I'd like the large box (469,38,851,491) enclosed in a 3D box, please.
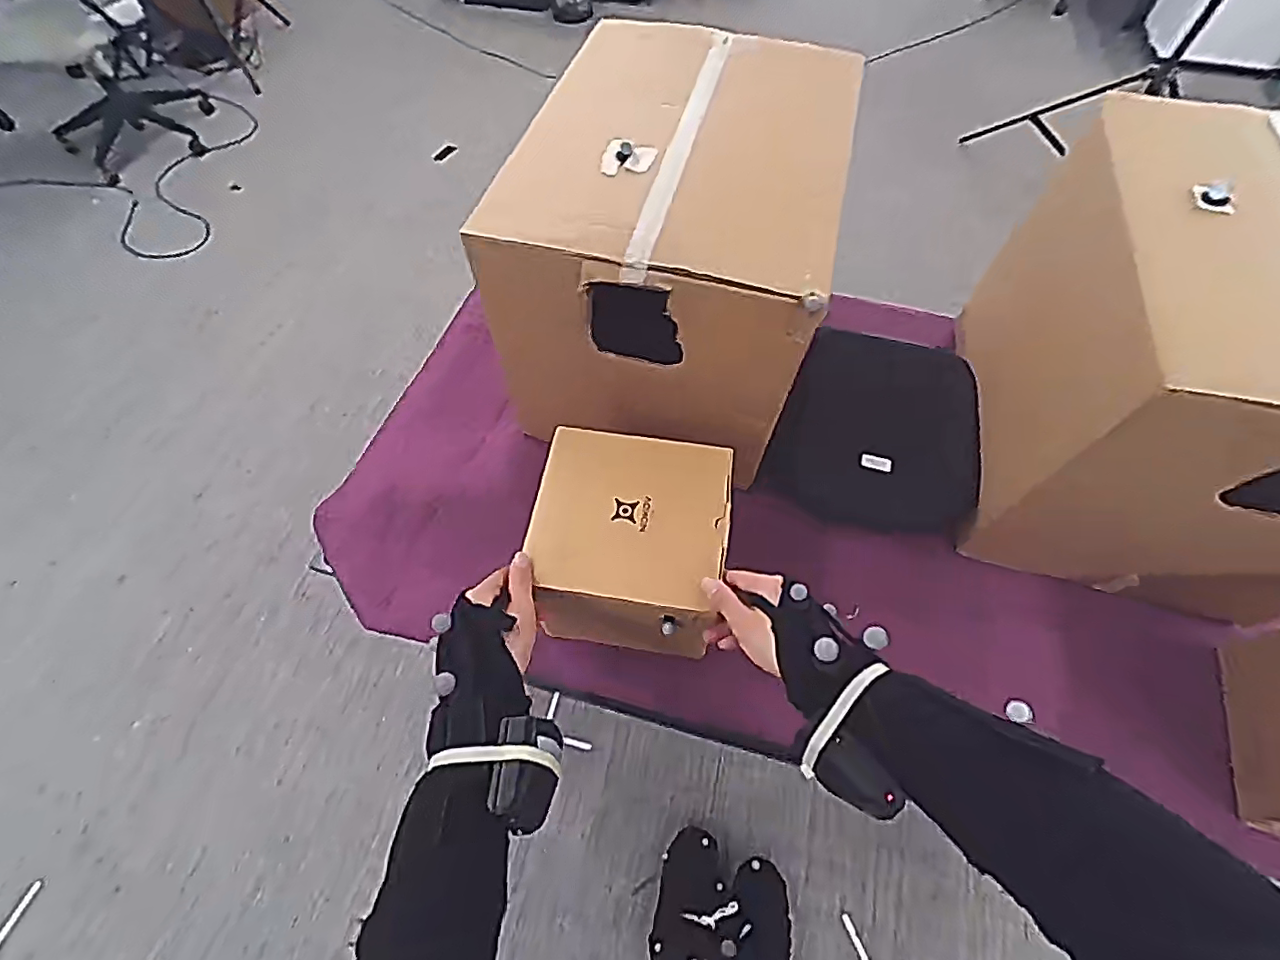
[{"bbox_3d":[0.043,-0.254,0.672,0.320,0.320,0.408,13,63,8],"label":"large box"}]
